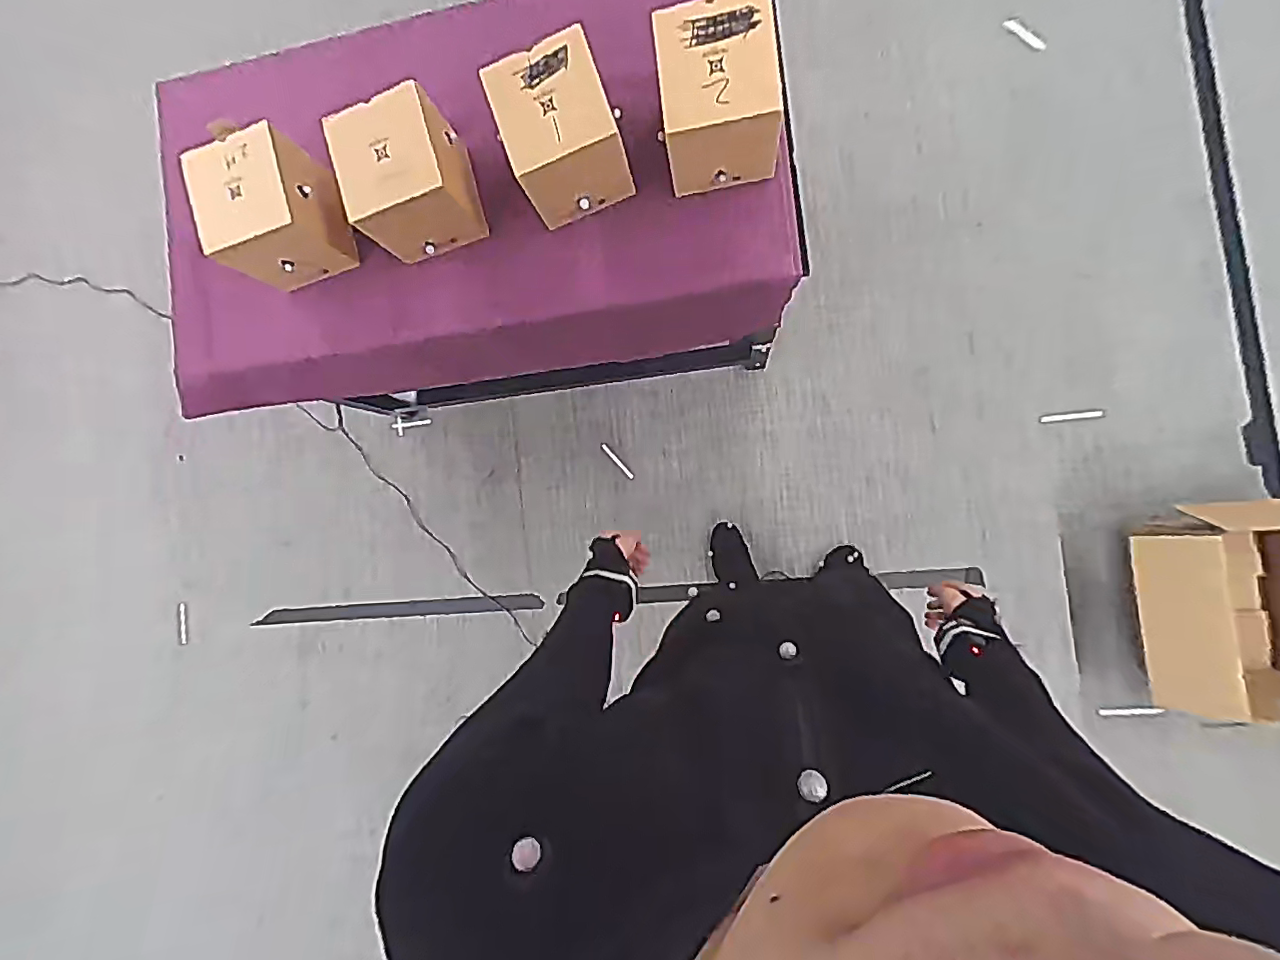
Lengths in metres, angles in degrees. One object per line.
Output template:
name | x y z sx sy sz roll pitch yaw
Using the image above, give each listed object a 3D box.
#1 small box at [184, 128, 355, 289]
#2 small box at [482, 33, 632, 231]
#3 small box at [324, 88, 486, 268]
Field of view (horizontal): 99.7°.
small box | -0.632 -0.454 0.942 0.168 0.176 0.179 -15 86 7
small box | -0.124 -0.543 0.870 0.168 0.176 0.179 -20 86 7
small box | -0.384 -0.492 0.908 0.168 0.176 0.179 -16 86 8
